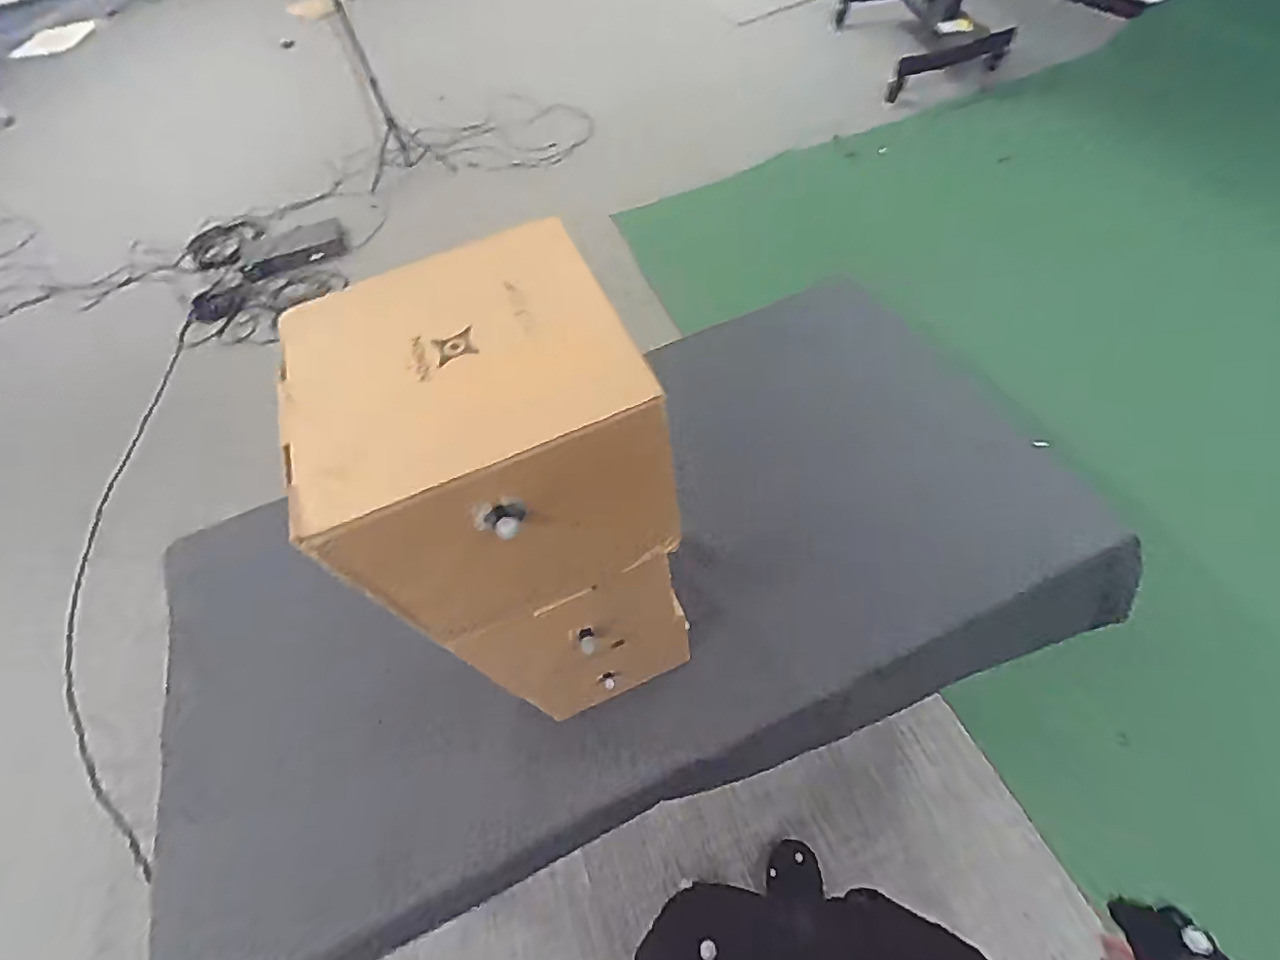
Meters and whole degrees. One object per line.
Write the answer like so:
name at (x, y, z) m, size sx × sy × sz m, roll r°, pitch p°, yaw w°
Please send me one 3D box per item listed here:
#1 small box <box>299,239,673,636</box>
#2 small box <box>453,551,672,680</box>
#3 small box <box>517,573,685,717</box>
small box at (-0.089, -0.020, 0.363) m, size 0.179 × 0.176 × 0.168 m, roll -23°, pitch 58°, yaw -8°
small box at (-0.080, 0.066, 0.501) m, size 0.168 × 0.176 × 0.179 m, roll -24°, pitch 57°, yaw -8°
small box at (-0.057, 0.154, 0.636) m, size 0.179 × 0.176 × 0.168 m, roll -23°, pitch 57°, yaw -7°
